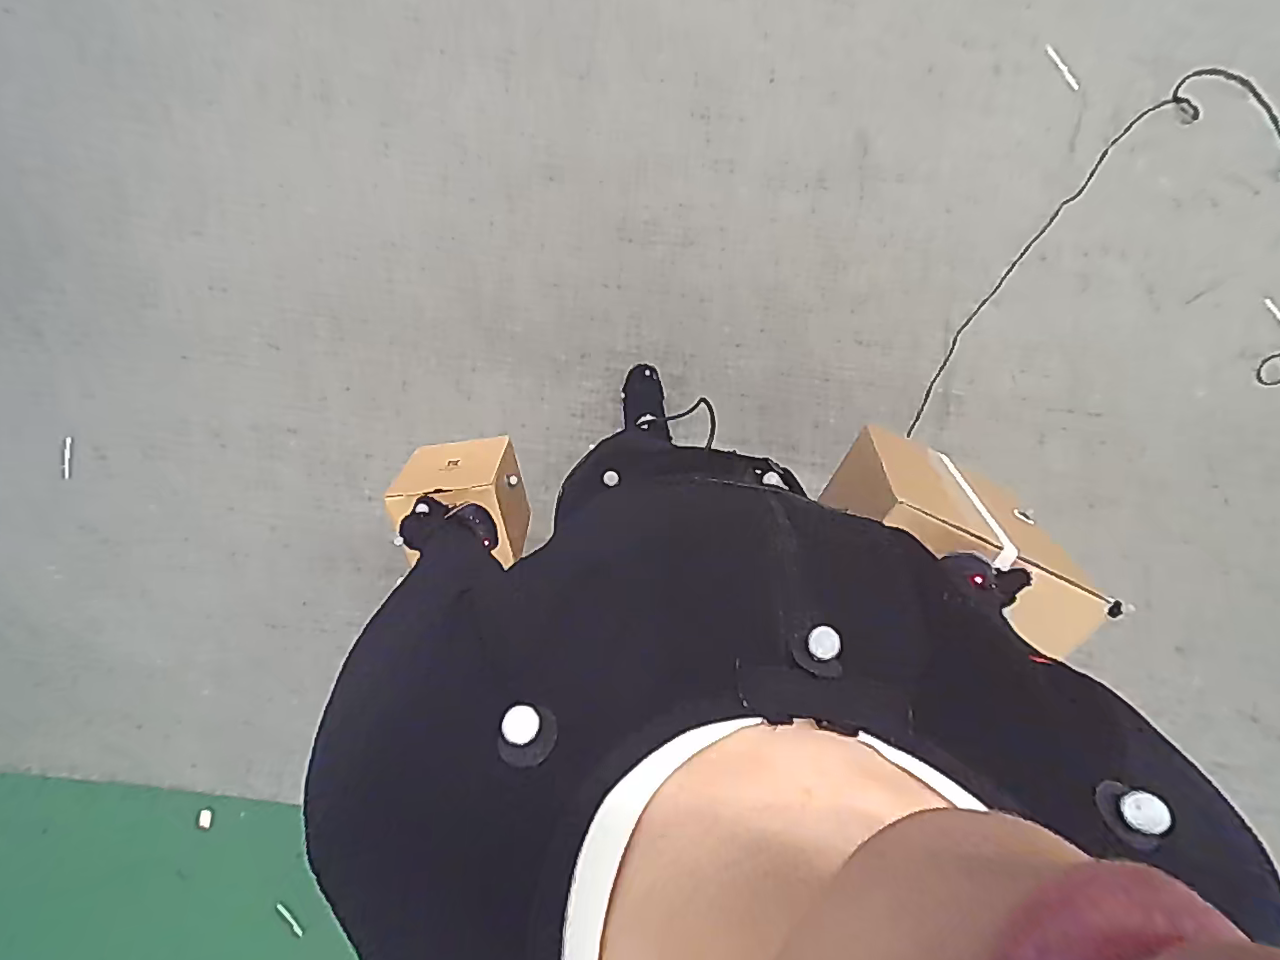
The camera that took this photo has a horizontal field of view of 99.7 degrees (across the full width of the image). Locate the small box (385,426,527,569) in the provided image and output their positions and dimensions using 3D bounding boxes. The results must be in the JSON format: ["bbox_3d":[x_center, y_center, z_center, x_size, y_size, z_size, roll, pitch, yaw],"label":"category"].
[{"bbox_3d":[-0.294,0.027,0.911,0.168,0.179,0.176,-7,121,1],"label":"small box"}]
